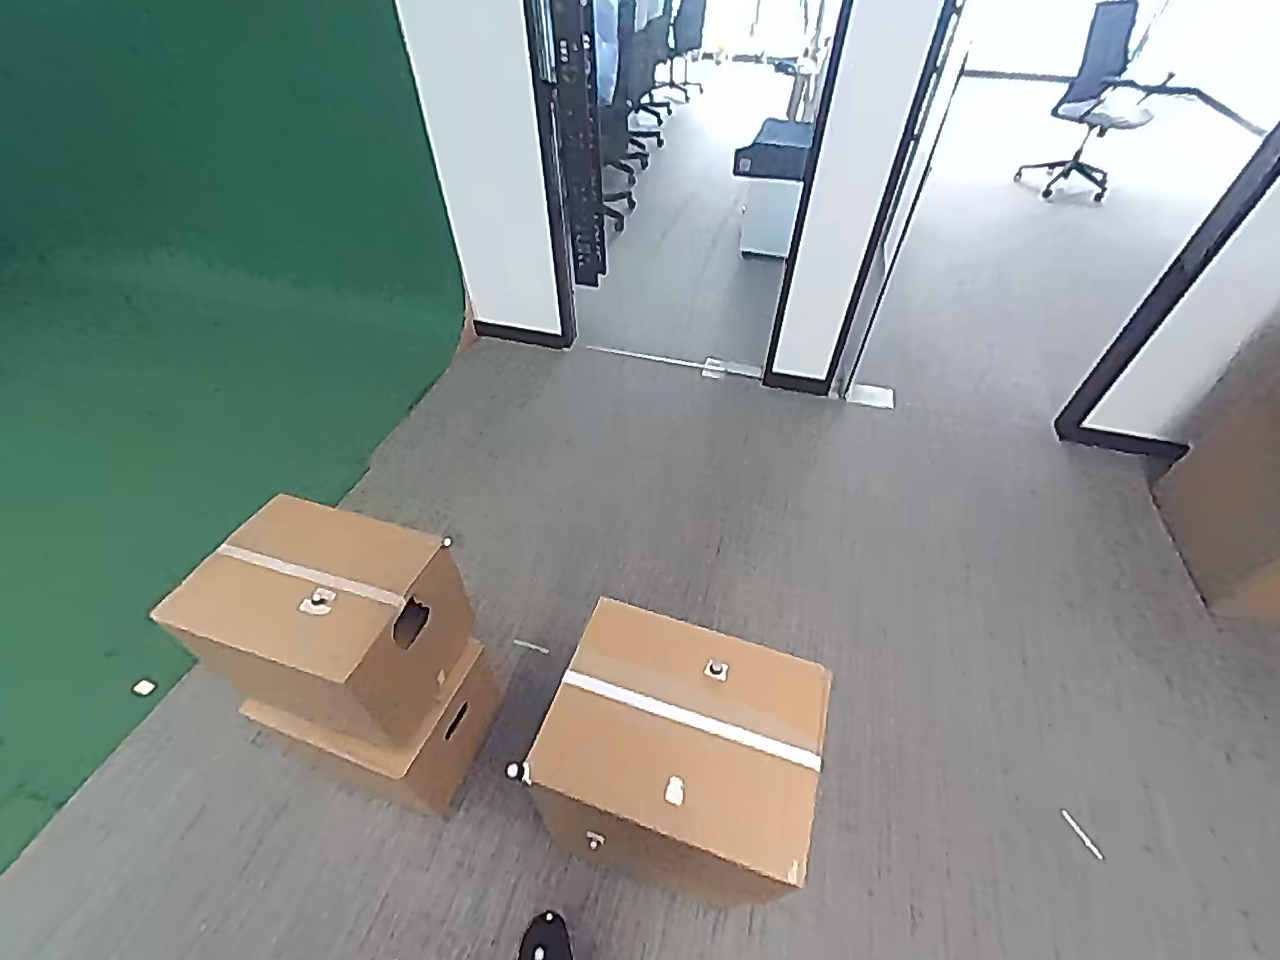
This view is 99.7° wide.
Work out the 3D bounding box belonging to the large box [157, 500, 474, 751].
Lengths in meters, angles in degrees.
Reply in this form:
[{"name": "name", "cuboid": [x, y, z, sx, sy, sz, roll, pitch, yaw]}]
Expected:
[{"name": "large box", "cuboid": [-0.615, 0.291, 1.107, 0.408, 0.320, 0.320, 14, 45, 11]}]
